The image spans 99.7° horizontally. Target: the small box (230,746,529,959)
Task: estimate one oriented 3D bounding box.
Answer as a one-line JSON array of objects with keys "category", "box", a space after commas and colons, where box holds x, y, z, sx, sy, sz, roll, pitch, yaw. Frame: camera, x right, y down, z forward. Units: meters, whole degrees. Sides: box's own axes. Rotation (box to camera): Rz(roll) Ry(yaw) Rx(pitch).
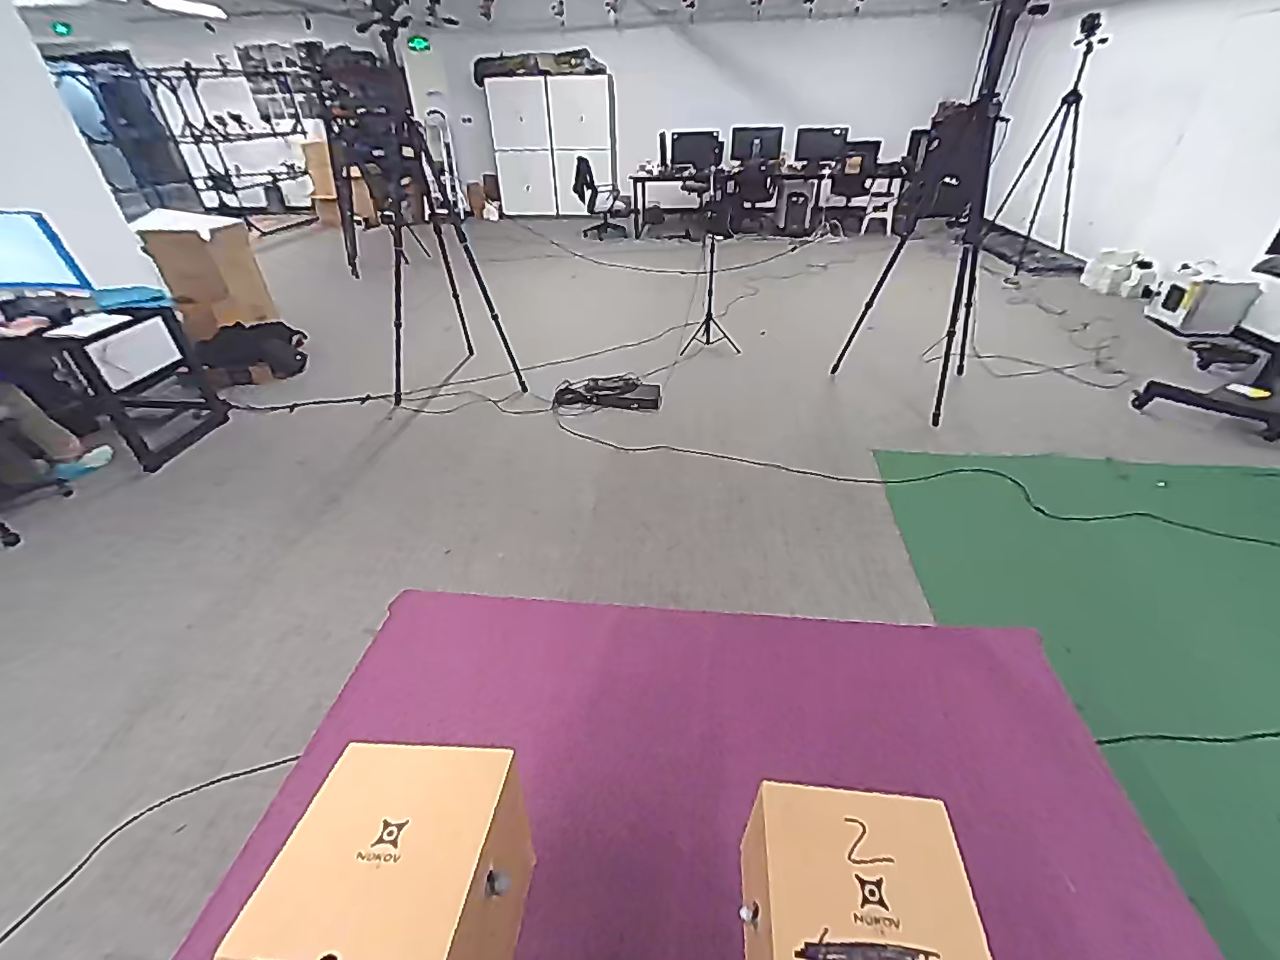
[{"category": "small box", "box": [-0.205, 0.375, 0.487, 0.168, 0.176, 0.179, 0, 27, 5]}]
